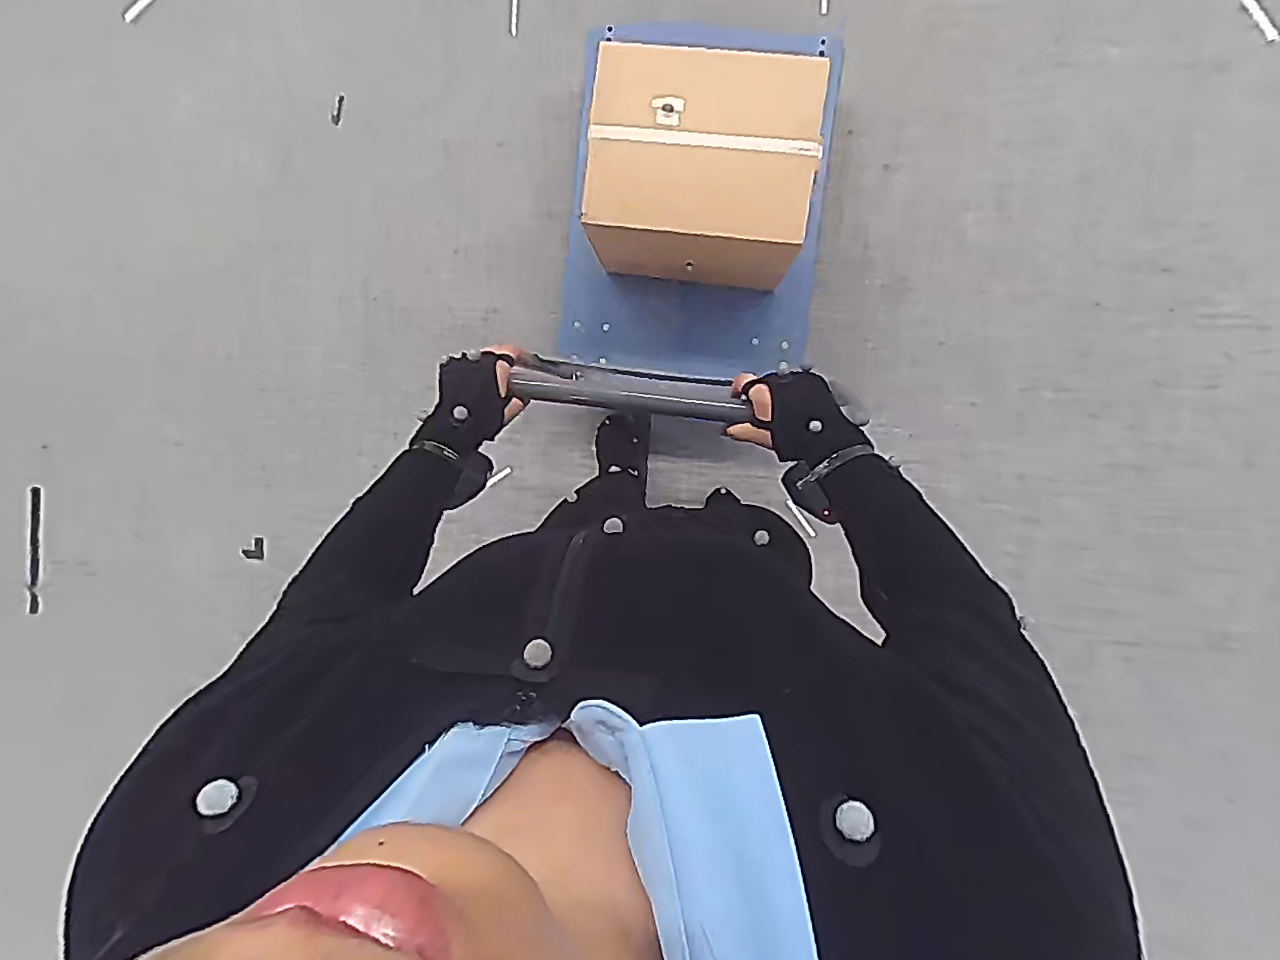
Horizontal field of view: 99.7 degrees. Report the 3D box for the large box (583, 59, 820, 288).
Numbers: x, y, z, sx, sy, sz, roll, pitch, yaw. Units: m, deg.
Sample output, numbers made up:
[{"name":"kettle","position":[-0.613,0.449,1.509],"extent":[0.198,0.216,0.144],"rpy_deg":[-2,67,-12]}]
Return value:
[{"name":"large box","position":[0.122,-0.605,1.124],"extent":[0.408,0.320,0.320],"rpy_deg":[7,94,5]}]
